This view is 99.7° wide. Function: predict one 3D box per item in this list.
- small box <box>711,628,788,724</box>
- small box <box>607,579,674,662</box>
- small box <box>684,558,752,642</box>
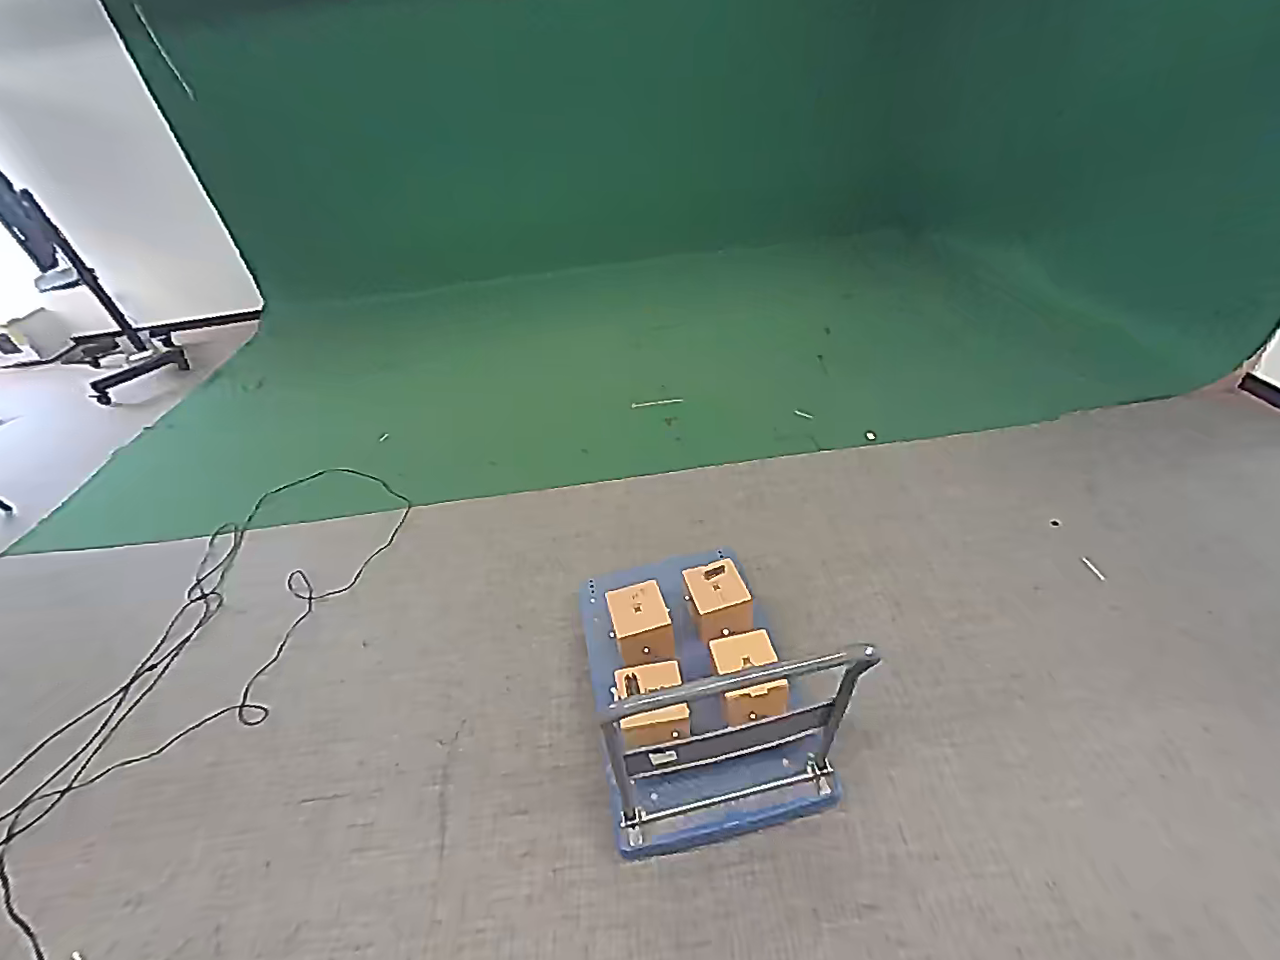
[{"bbox_3d":[0.299,0.550,1.518,0.168,0.176,0.179,-11,40,-4],"label":"small box"},{"bbox_3d":[0.004,0.446,1.689,0.168,0.176,0.179,-14,40,-8],"label":"small box"},{"bbox_3d":[0.246,0.383,1.723,0.168,0.176,0.179,-15,41,-7],"label":"small box"}]
